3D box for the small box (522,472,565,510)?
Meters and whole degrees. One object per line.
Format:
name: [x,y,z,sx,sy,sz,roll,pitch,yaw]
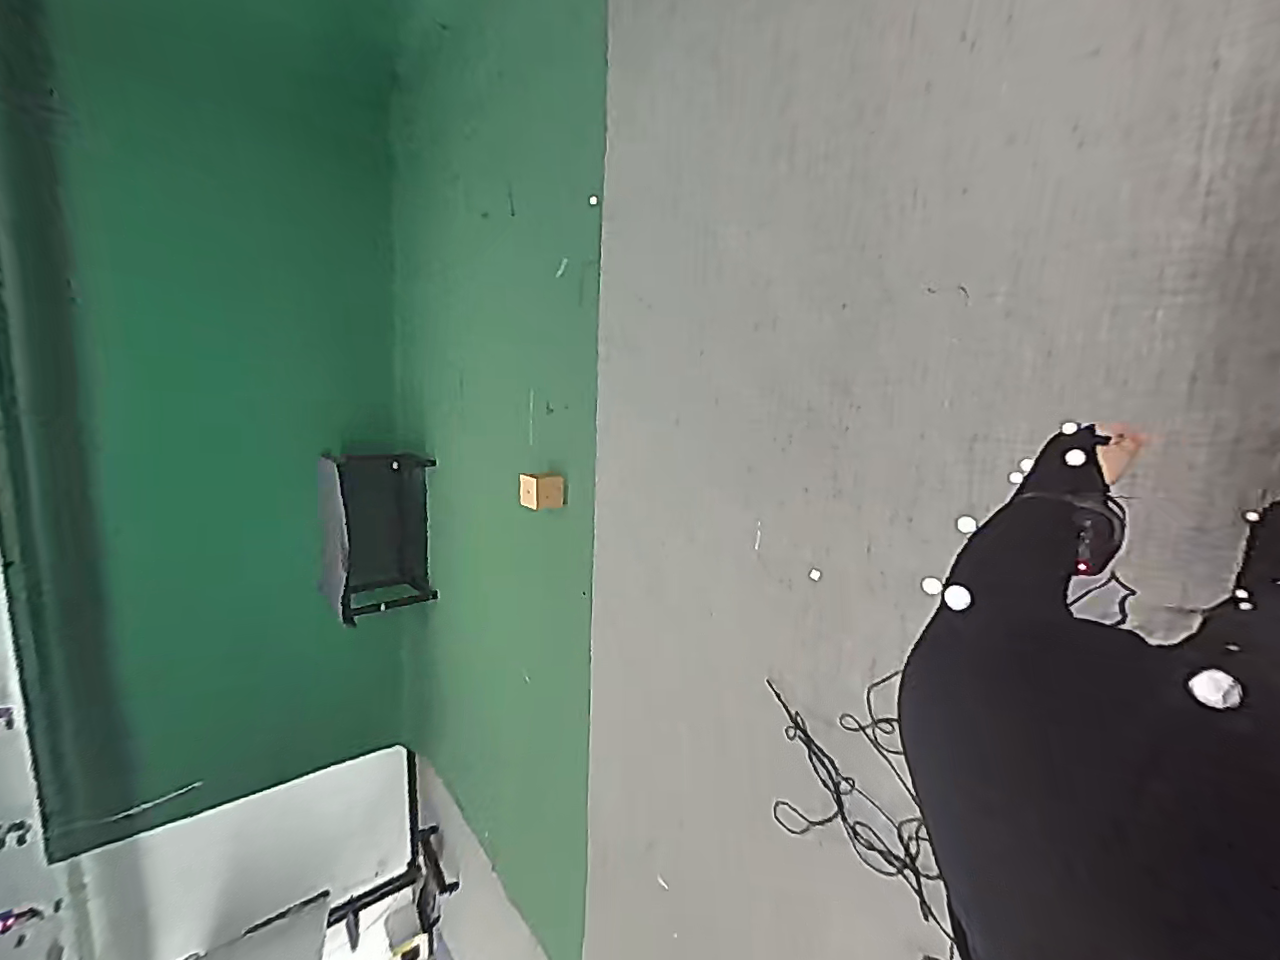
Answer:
small box: [-0.508,0.054,2.866,0.179,0.176,0.168,12,104,51]
